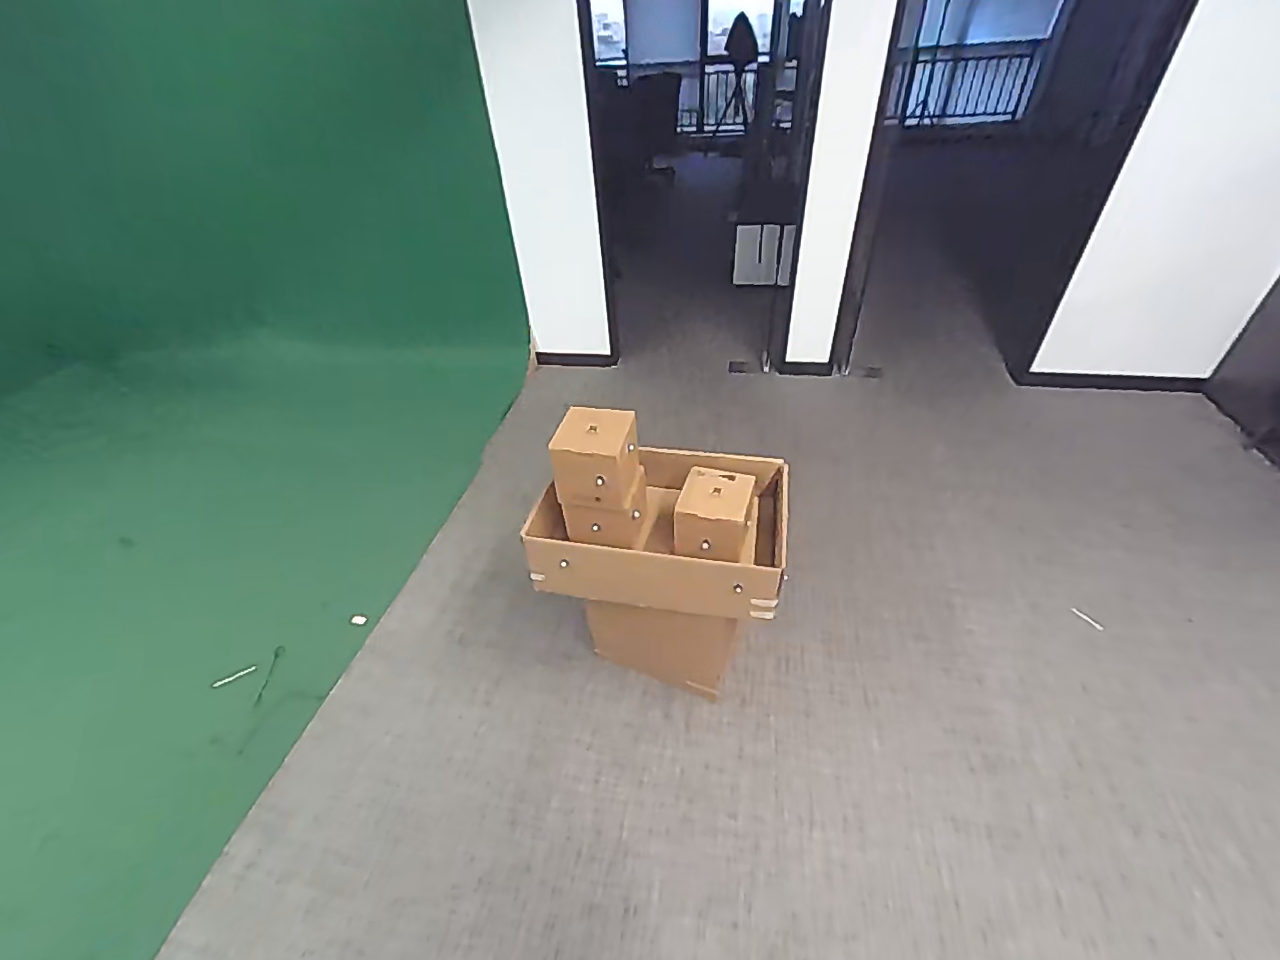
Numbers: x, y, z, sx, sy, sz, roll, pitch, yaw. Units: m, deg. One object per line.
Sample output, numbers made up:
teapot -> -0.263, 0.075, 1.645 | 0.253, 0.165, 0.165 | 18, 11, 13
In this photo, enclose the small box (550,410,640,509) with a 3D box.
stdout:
small box -> -0.098, -0.049, 1.308 | 0.168, 0.176, 0.179 | 6, 41, 12
